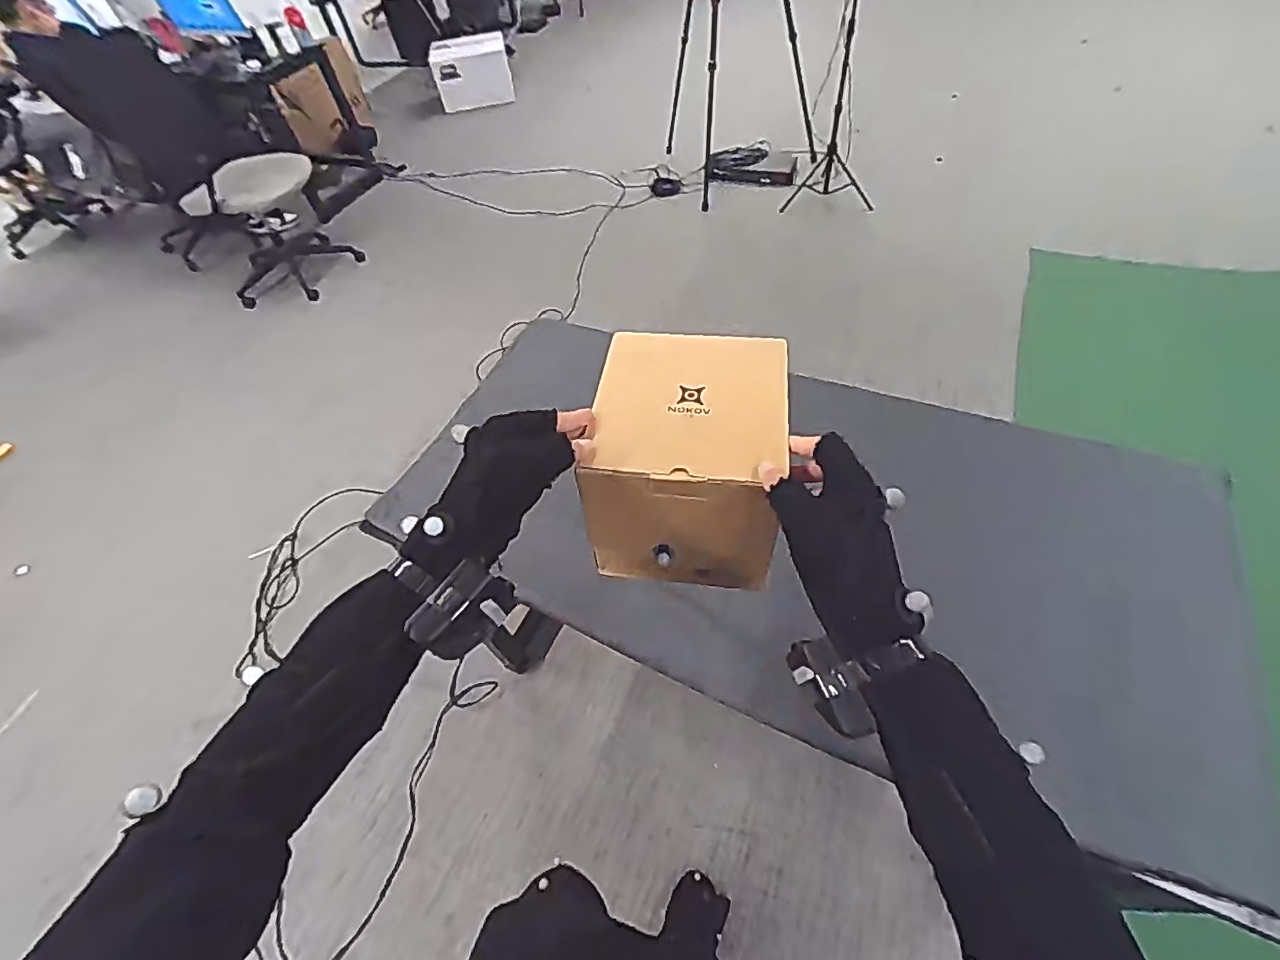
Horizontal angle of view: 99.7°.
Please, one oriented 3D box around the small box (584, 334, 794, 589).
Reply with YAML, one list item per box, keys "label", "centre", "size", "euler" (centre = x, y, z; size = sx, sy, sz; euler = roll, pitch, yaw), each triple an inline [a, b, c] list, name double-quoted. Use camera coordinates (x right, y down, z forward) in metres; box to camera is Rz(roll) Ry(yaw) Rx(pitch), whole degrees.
- label: "small box"
  centre: [0.052, -0.017, 0.526]
  size: [0.168, 0.176, 0.179]
  euler: [5, 53, 8]
